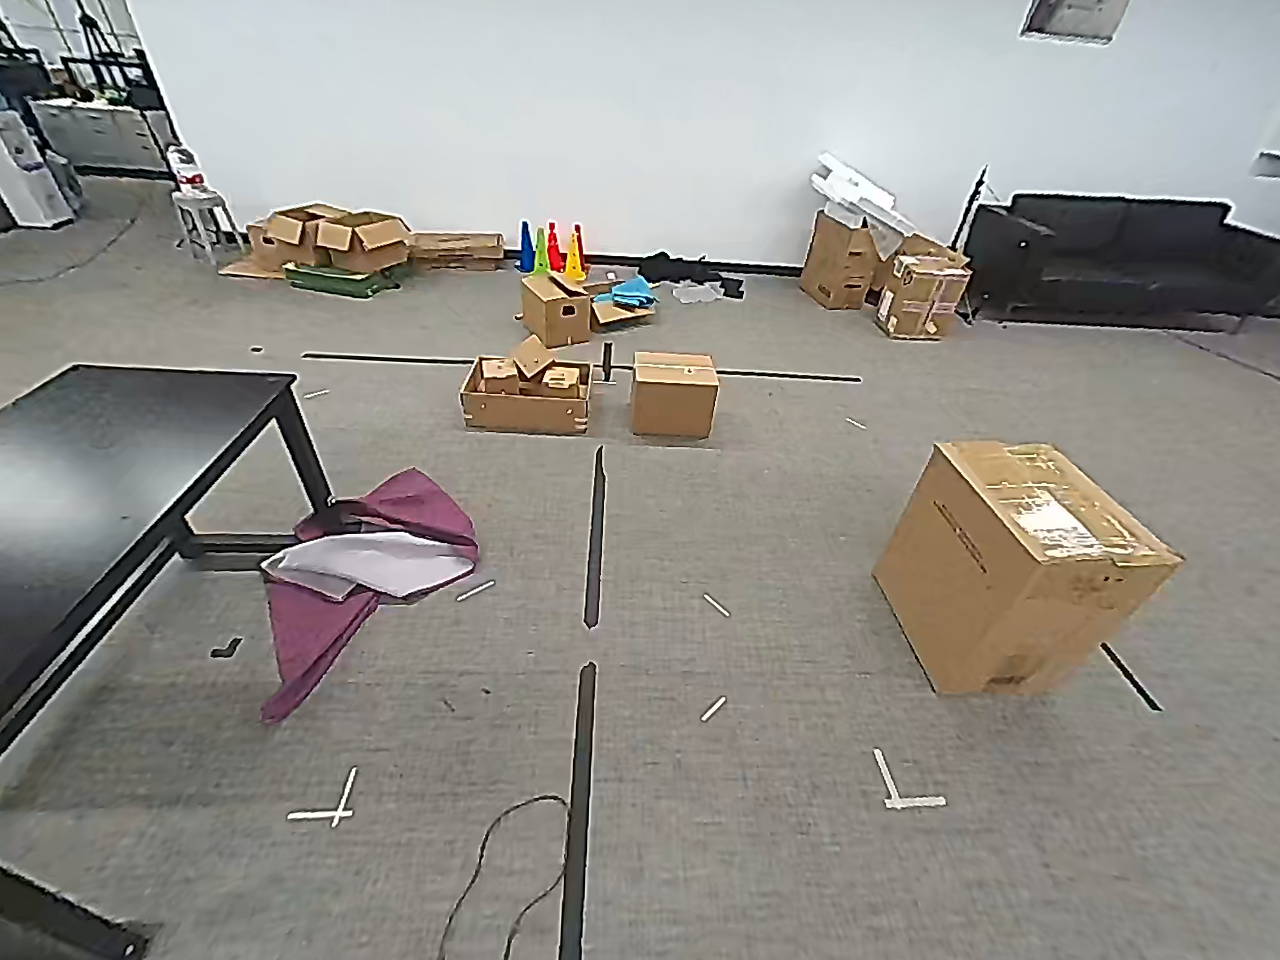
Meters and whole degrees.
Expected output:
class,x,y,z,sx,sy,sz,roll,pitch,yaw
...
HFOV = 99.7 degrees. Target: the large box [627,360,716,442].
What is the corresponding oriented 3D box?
class,x,y,z,sx,sy,sz,roll,pitch,yaw
large box,0.150,-0.409,2.799,0.408,0.320,0.320,2,39,-6
